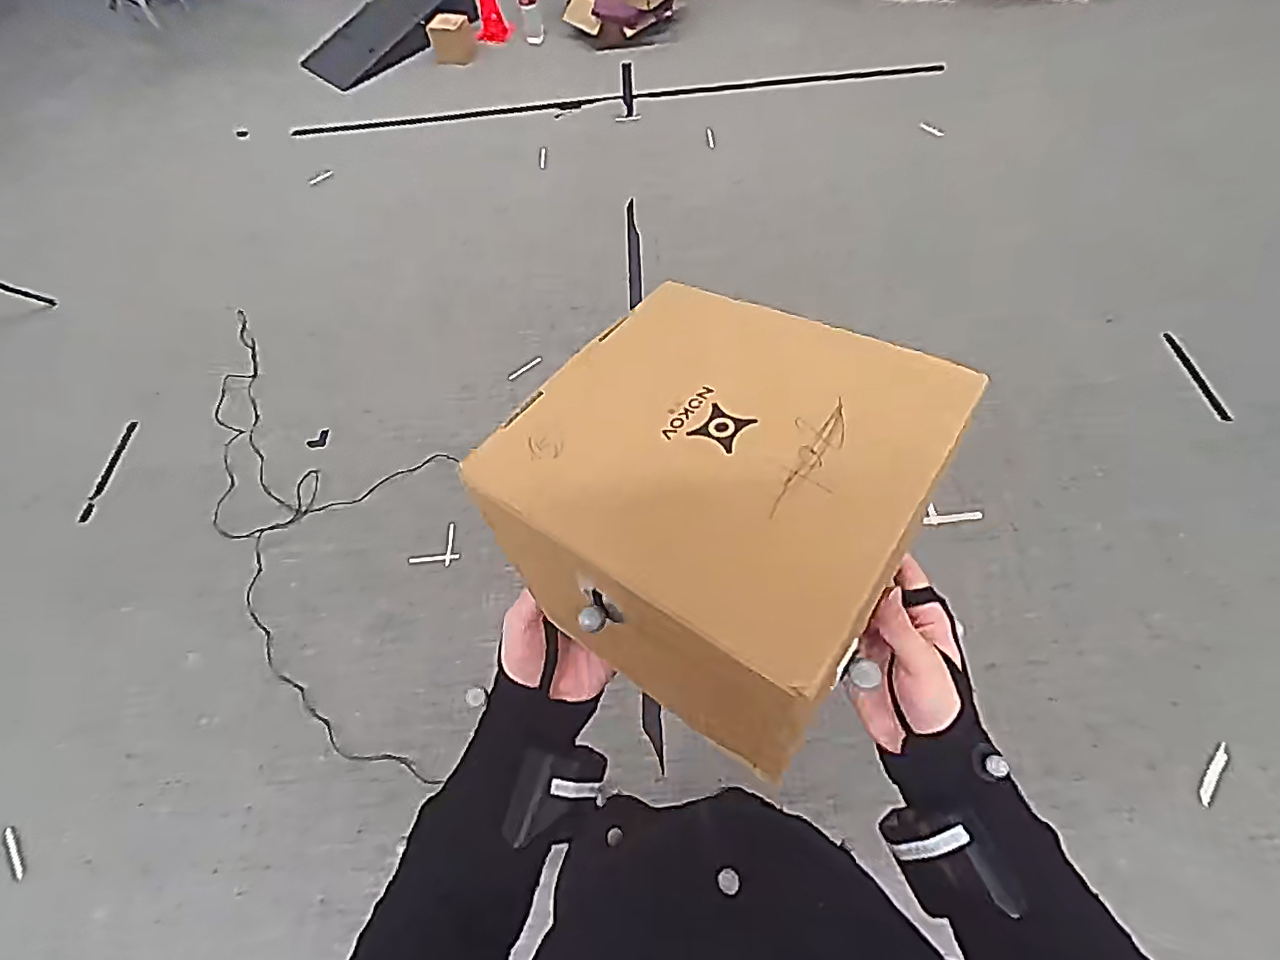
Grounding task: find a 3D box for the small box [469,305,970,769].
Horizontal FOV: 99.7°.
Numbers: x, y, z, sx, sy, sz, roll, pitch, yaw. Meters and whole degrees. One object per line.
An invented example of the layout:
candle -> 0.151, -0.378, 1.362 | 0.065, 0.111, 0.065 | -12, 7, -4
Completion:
small box -> 0.044, 0.034, 0.310 | 0.179, 0.176, 0.168 | 27, 62, 27
